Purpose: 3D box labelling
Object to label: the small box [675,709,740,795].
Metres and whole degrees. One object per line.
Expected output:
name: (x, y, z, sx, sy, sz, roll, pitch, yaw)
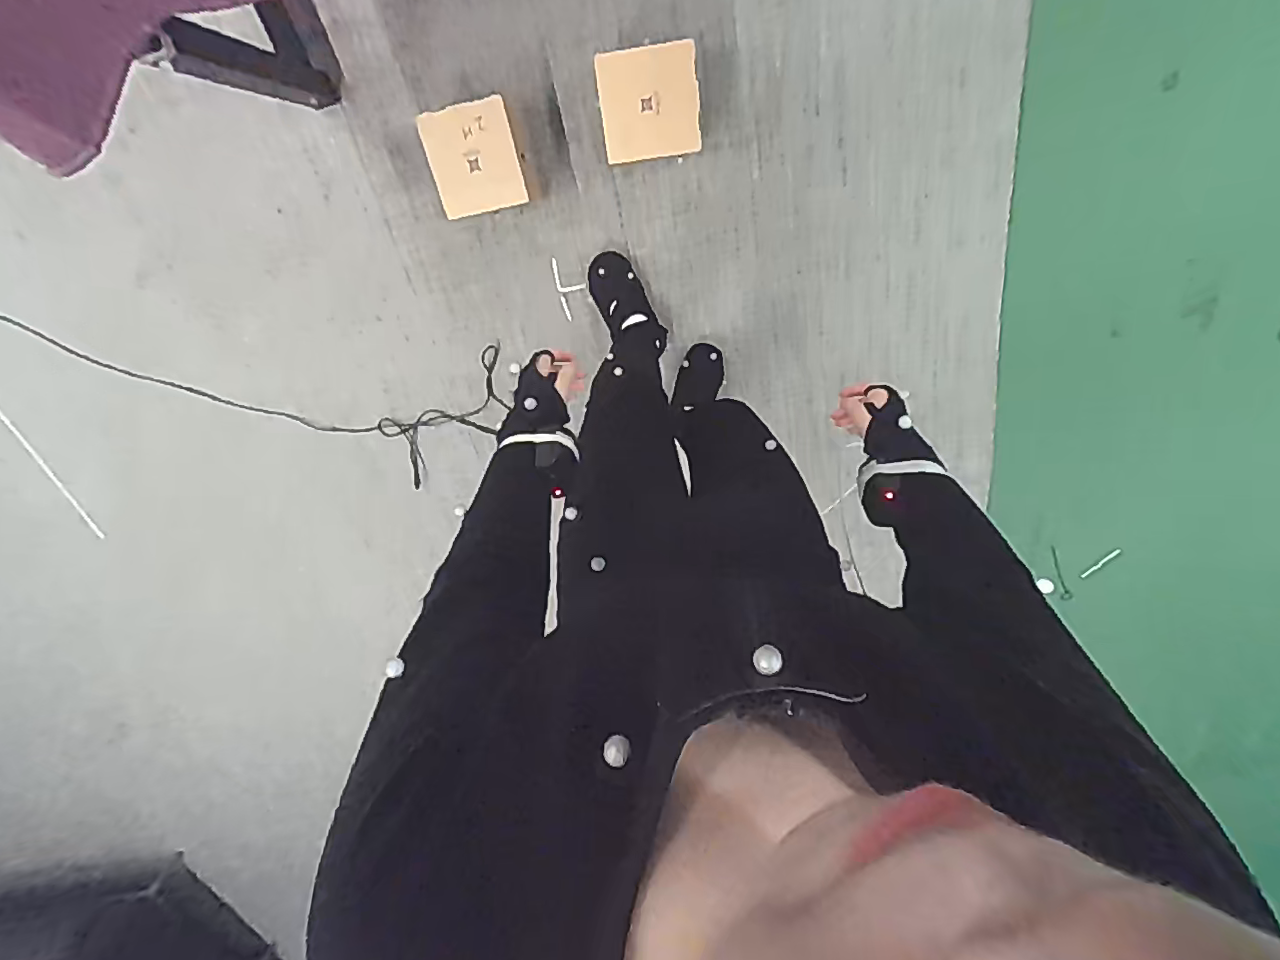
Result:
small box: (0.195, 0.800, 1.599, 0.179, 0.176, 0.168, -3, 117, 1)
